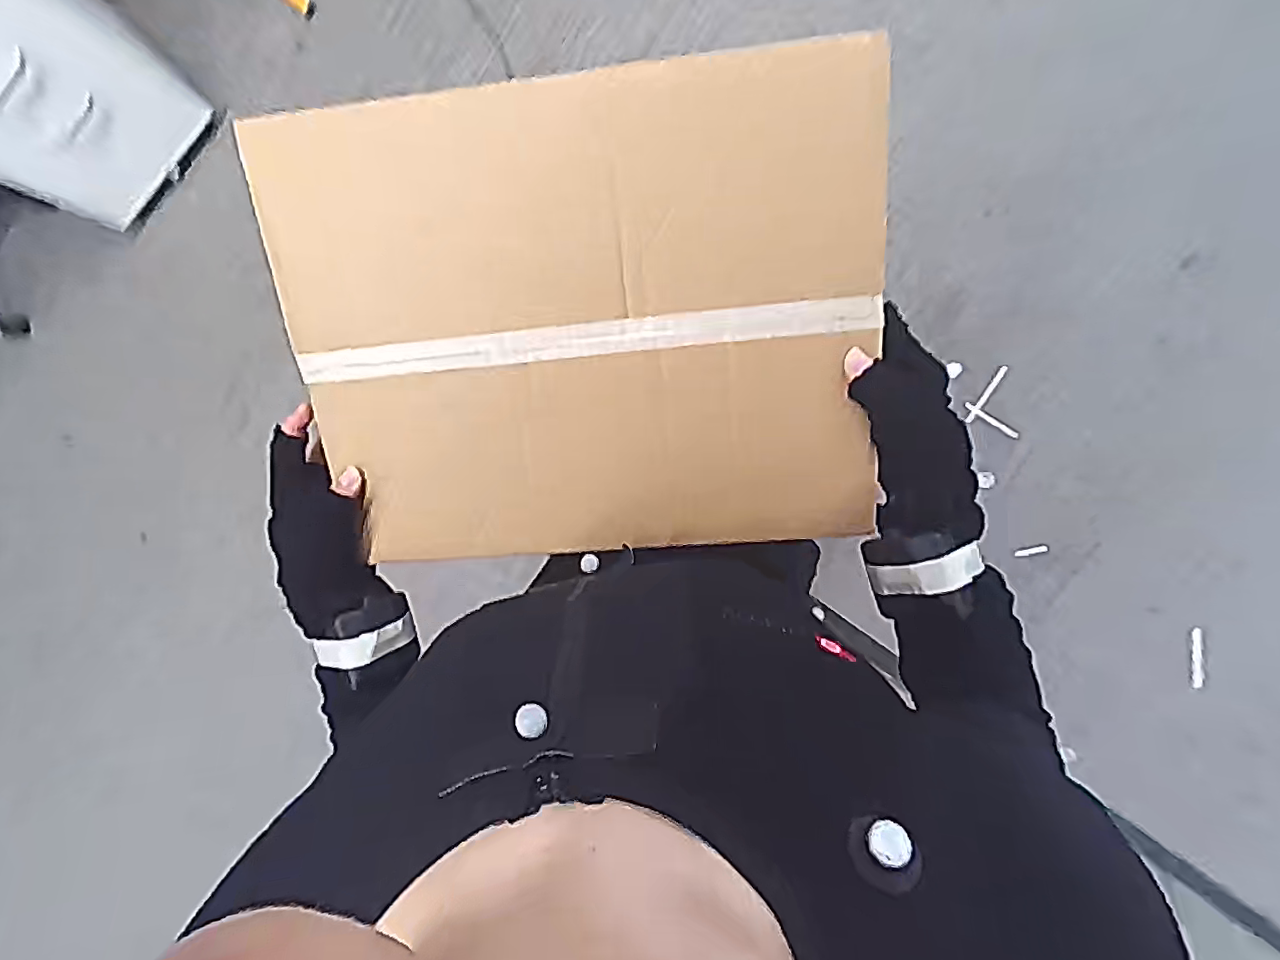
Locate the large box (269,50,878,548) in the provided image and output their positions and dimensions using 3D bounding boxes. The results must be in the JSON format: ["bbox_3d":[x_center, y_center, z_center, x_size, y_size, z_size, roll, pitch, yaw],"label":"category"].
[{"bbox_3d":[-0.033,-0.144,0.526,0.408,0.320,0.320,-3,108,5],"label":"large box"}]
